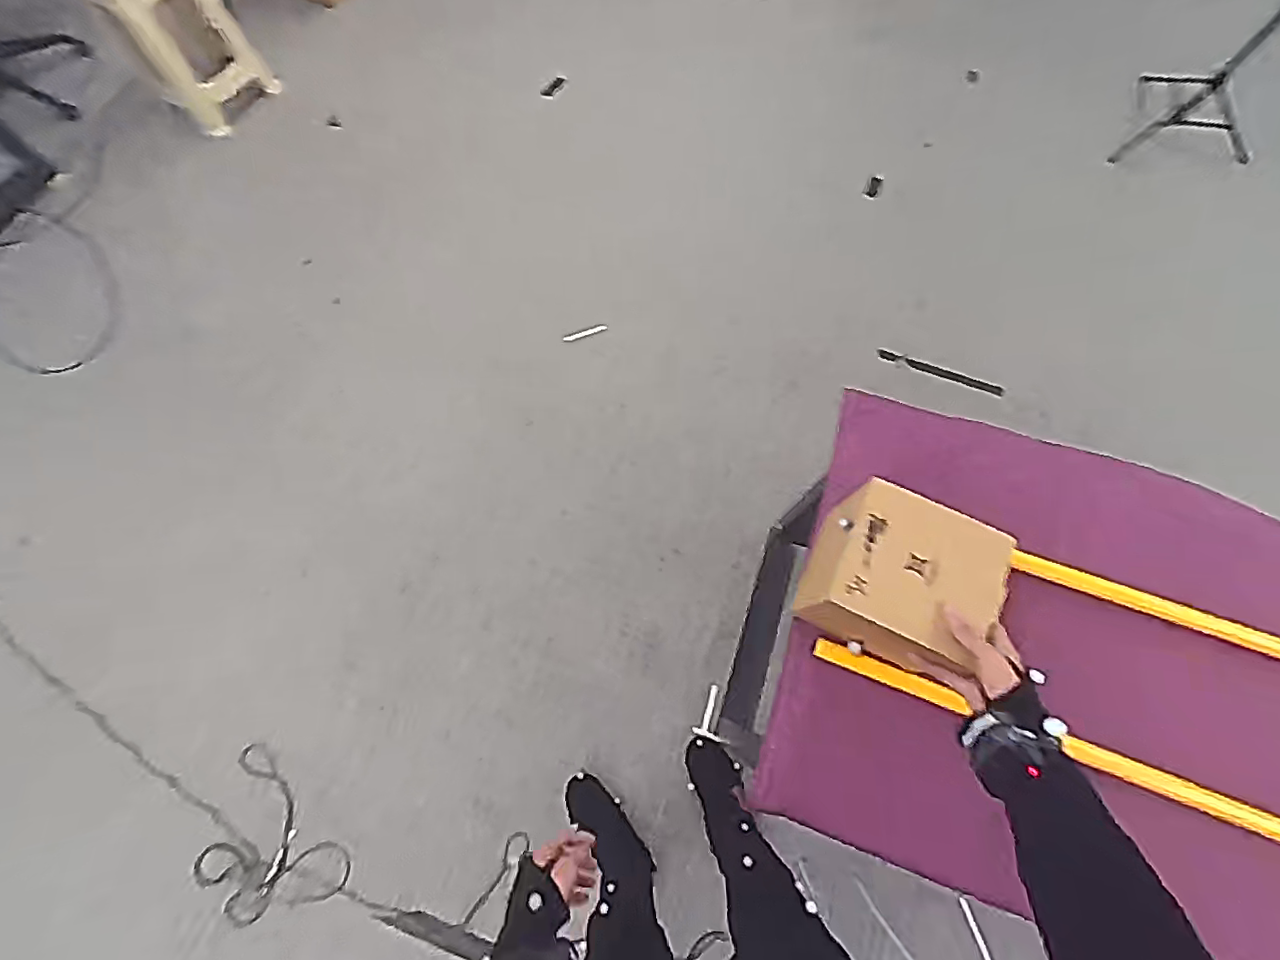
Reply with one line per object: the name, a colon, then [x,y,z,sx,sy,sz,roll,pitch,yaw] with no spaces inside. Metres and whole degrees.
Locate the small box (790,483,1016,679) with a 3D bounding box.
small box: [0.318,0.131,0.685,0.179,0.176,0.168,26,73,8]
